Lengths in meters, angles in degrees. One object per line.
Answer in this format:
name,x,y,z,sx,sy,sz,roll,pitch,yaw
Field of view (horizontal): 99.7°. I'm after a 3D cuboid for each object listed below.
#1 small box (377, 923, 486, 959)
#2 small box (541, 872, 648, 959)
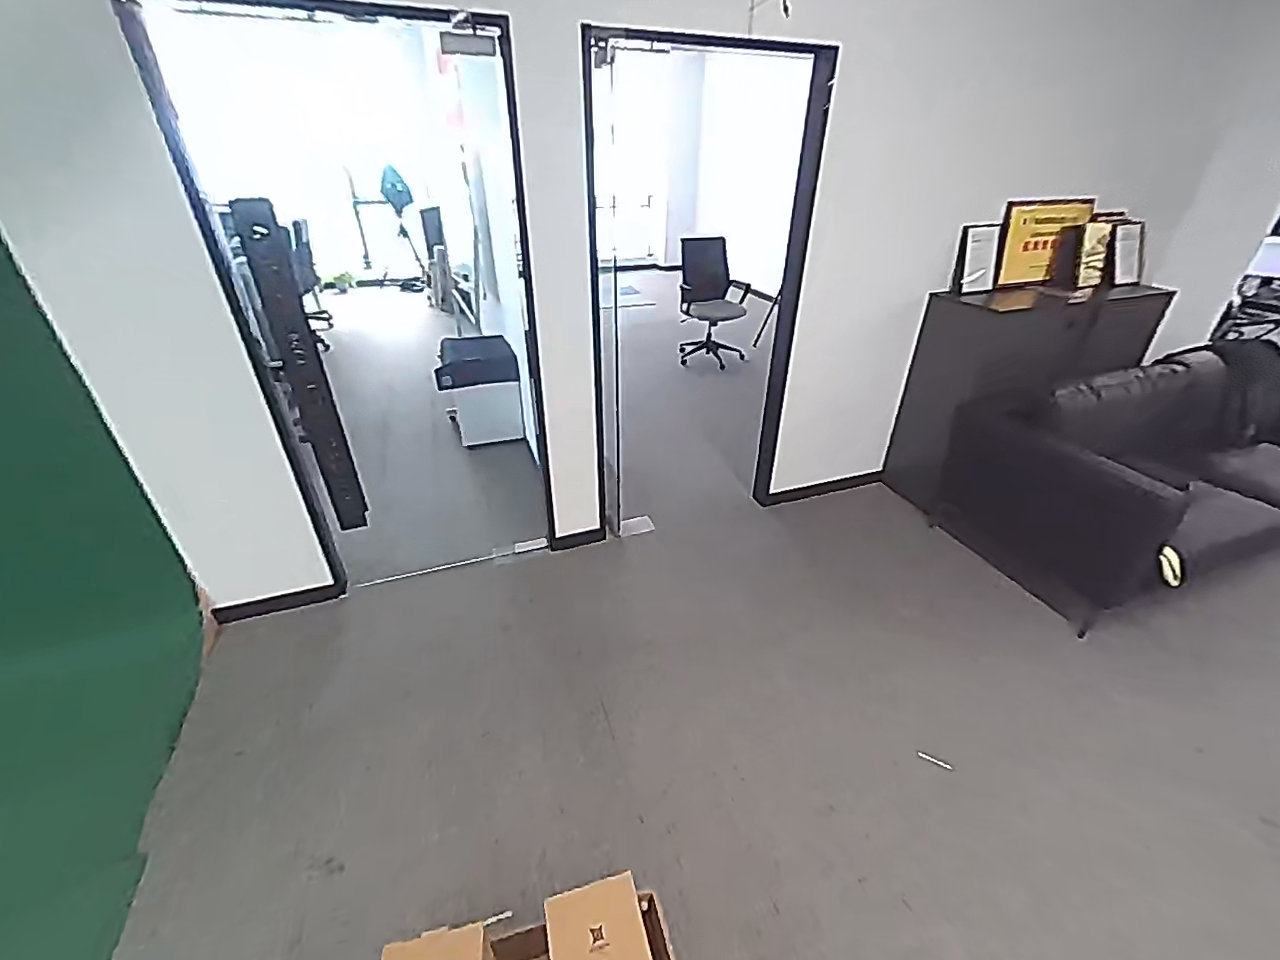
small box,-0.342,0.884,0.884,0.168,0.176,0.179,-5,30,-12
small box,-0.077,0.847,0.952,0.168,0.176,0.179,-9,32,-13
